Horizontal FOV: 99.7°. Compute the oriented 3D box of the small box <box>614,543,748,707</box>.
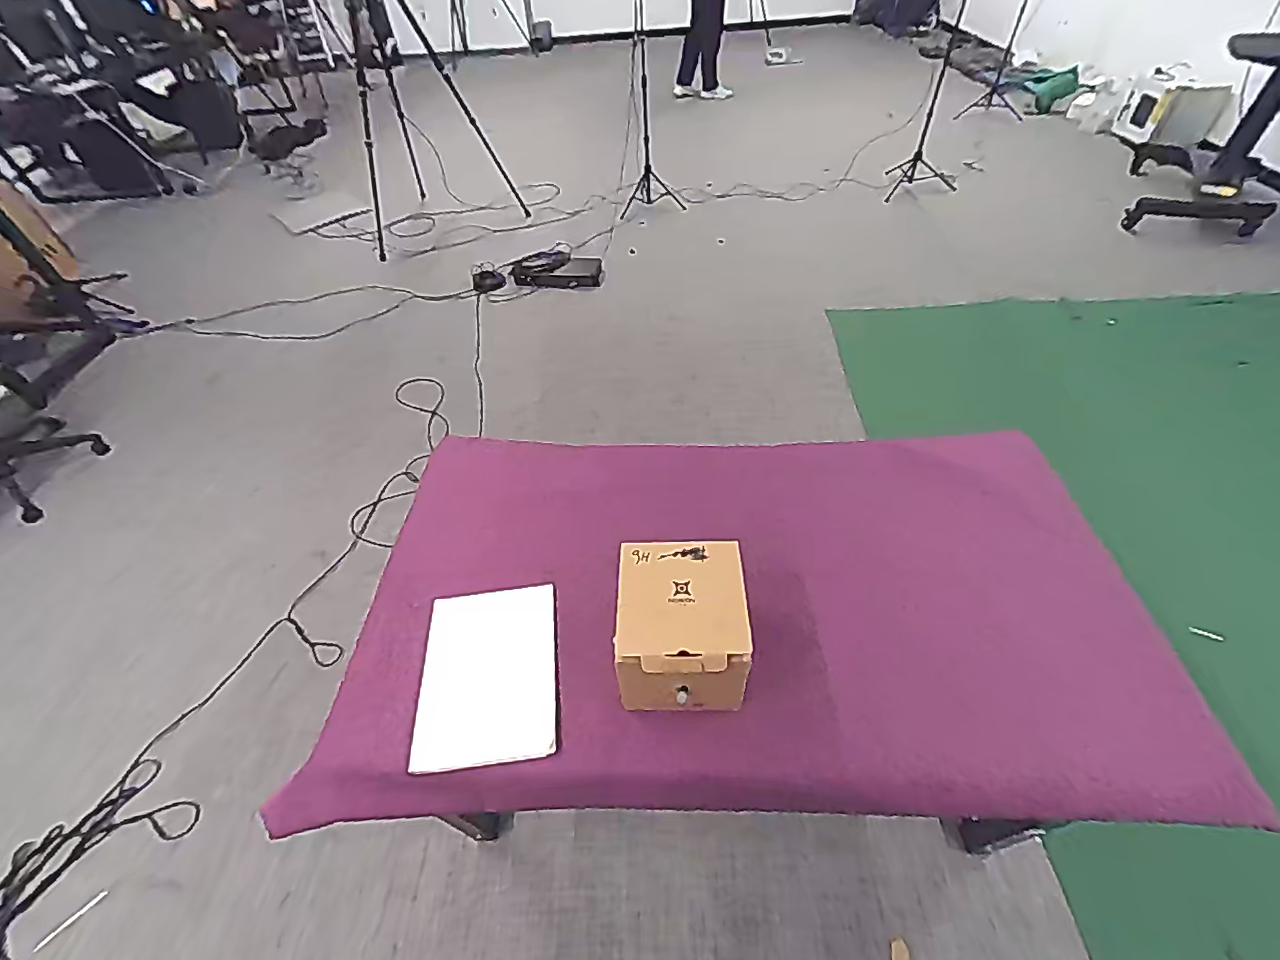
[{"bbox_3d":[0.058,0.207,0.763,0.168,0.176,0.179,0,48,3],"label":"small box"}]
